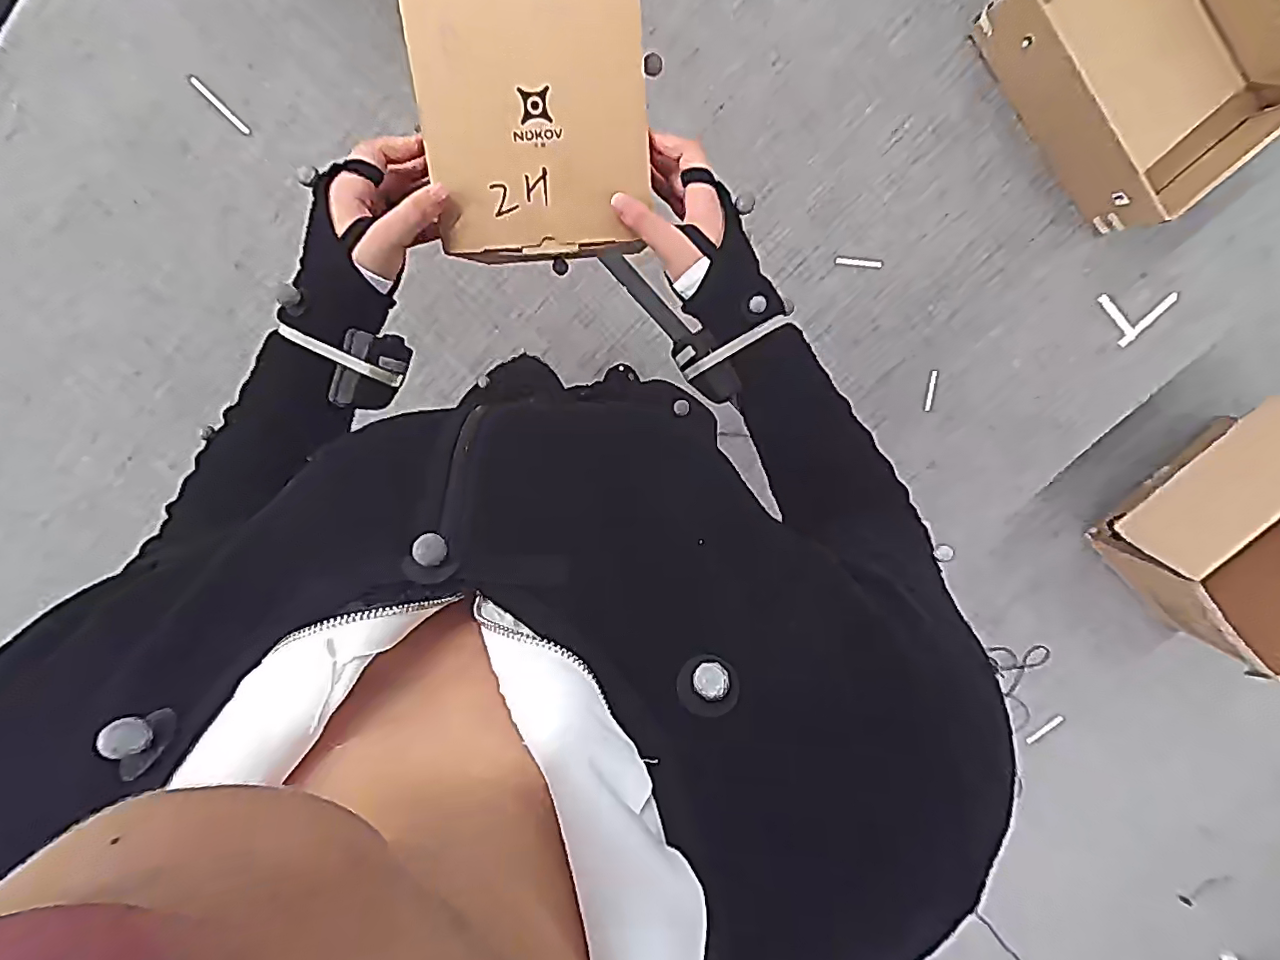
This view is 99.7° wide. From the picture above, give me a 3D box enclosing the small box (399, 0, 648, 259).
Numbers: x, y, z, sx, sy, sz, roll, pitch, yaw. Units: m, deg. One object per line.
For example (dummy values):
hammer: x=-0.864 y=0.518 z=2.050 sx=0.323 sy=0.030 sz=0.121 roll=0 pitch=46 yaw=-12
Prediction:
small box: x=-0.085 y=-0.294 z=0.465 sx=0.168 sy=0.176 sz=0.179 roll=-5 pitch=109 yaw=-2
